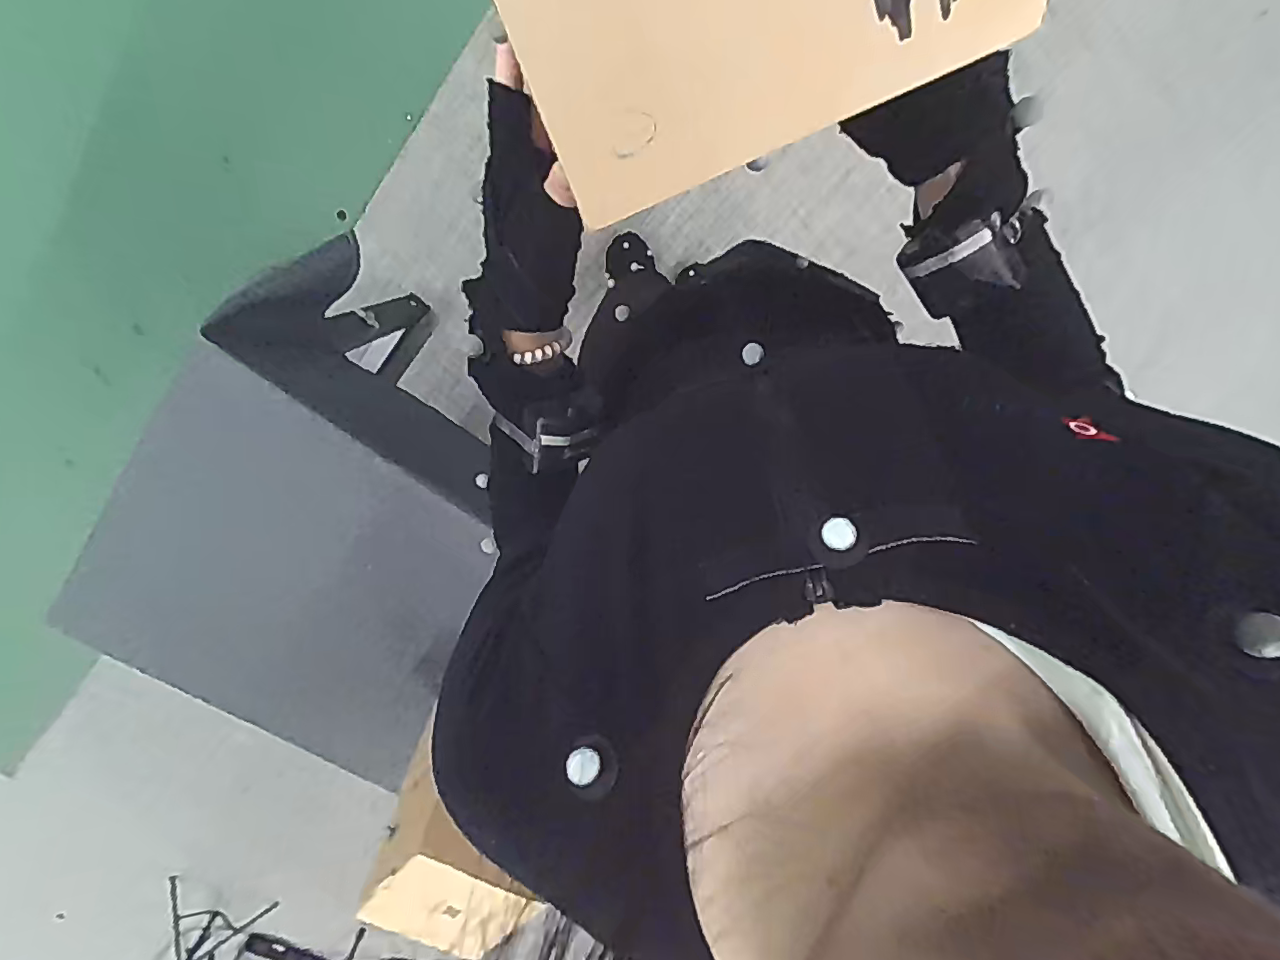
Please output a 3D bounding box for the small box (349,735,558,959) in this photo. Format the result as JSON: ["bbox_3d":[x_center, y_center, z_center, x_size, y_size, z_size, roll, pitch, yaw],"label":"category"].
[{"bbox_3d":[-0.229,0.472,0.710,0.179,0.176,0.168,37,110,-16],"label":"small box"}]

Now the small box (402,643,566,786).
[{"bbox_3d":[-0.232,0.400,0.857,0.168,0.176,0.179,39,108,-17],"label":"small box"}]
